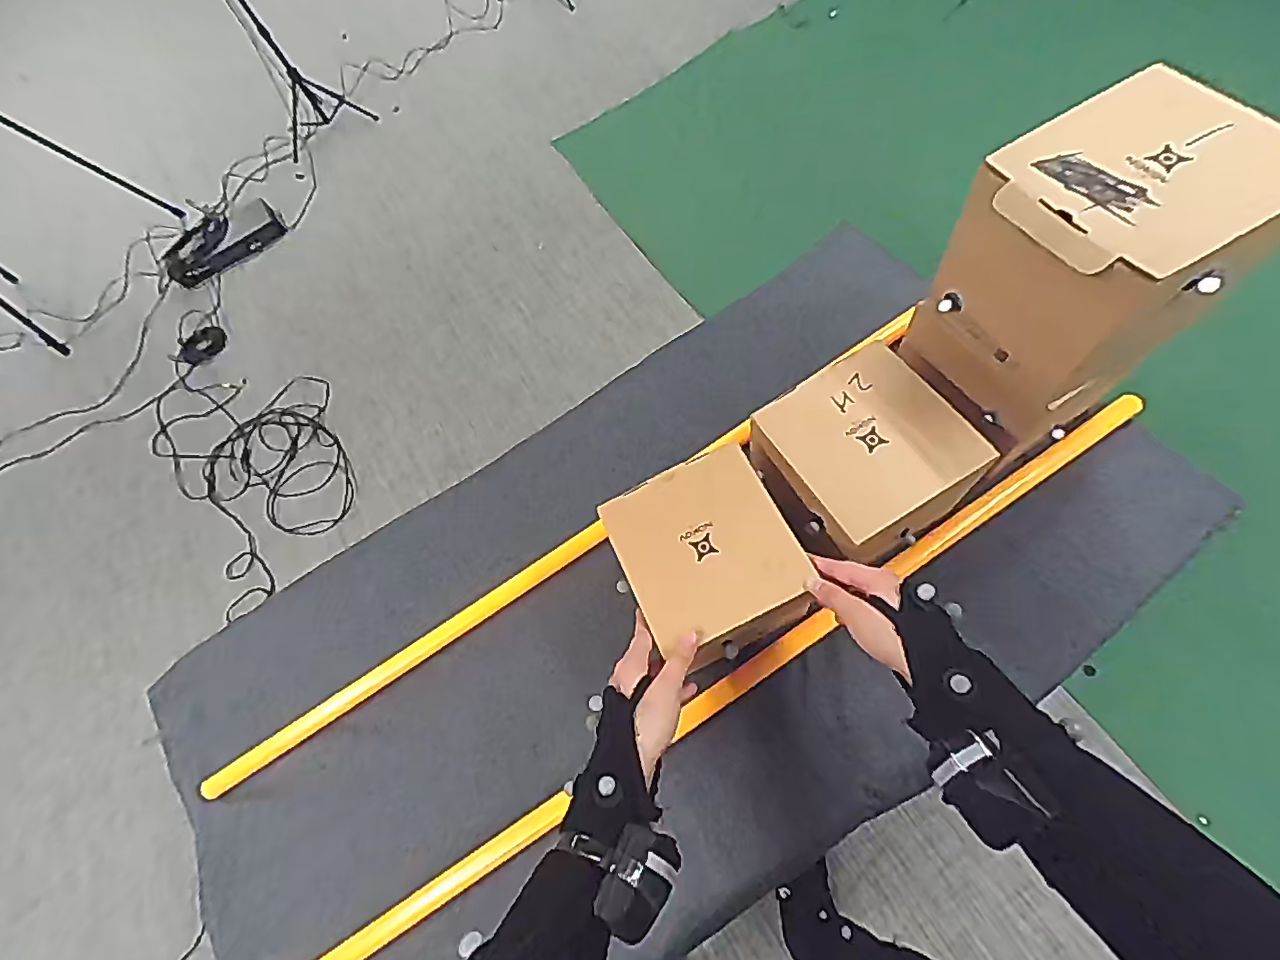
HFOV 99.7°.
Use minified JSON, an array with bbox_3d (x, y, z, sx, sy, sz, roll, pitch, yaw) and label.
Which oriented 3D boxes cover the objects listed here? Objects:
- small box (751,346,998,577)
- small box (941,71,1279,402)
[{"bbox_3d":[0.243,-0.007,0.608,0.168,0.176,0.179,-31,64,-1],"label":"small box"},{"bbox_3d":[0.401,-0.200,0.479,0.179,0.176,0.168,-29,64,-2],"label":"small box"}]
